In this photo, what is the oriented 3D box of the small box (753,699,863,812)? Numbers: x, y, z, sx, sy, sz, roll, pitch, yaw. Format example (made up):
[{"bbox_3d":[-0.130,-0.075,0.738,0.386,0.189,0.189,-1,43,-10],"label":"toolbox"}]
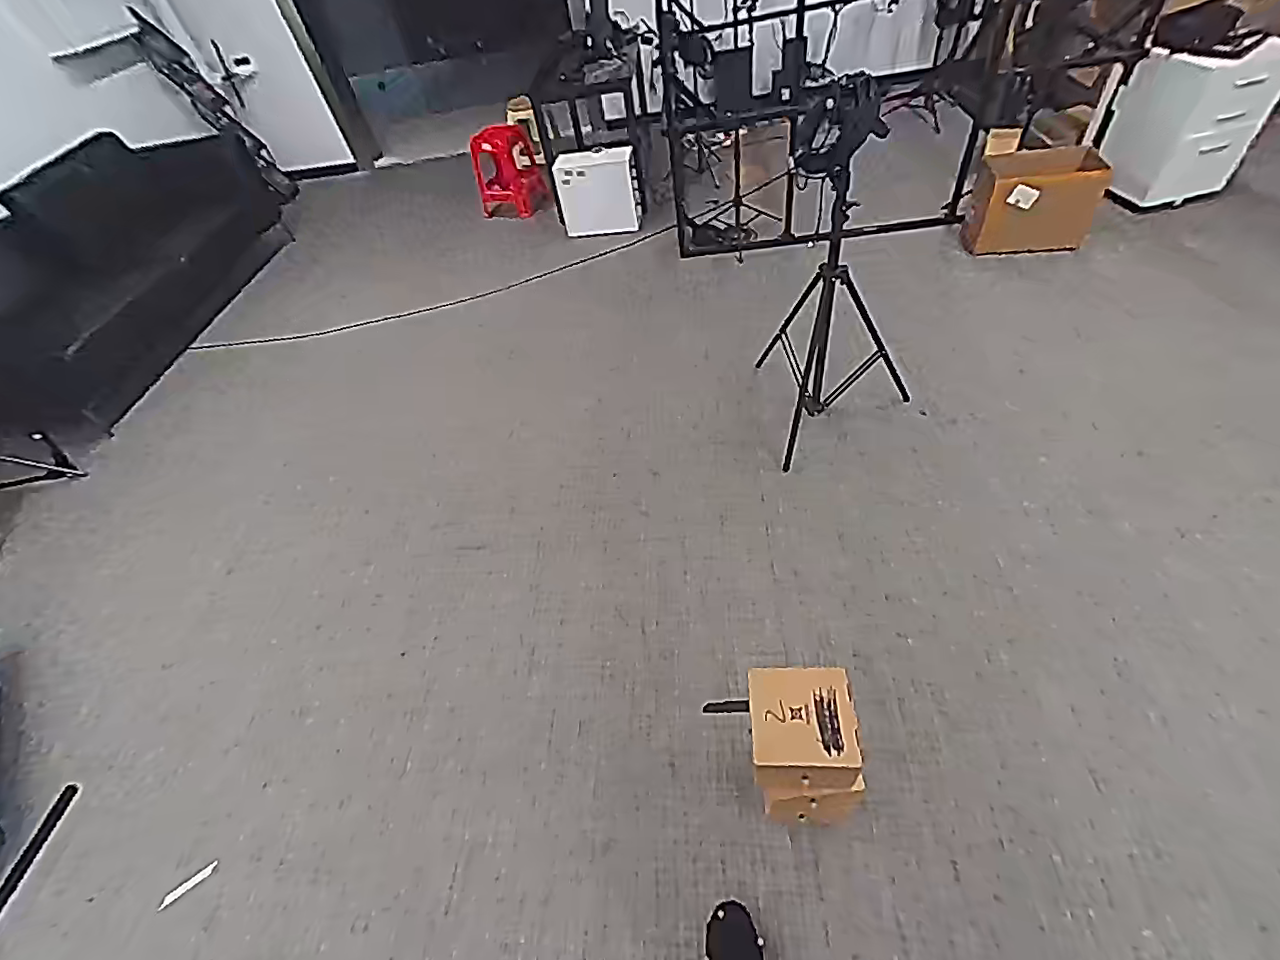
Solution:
[{"bbox_3d":[0.332,0.568,1.109,0.179,0.176,0.168,-9,48,4],"label":"small box"}]

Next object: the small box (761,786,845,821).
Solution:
[{"bbox_3d":[0.363,0.665,1.236,0.168,0.176,0.179,-2,49,9],"label":"small box"}]
